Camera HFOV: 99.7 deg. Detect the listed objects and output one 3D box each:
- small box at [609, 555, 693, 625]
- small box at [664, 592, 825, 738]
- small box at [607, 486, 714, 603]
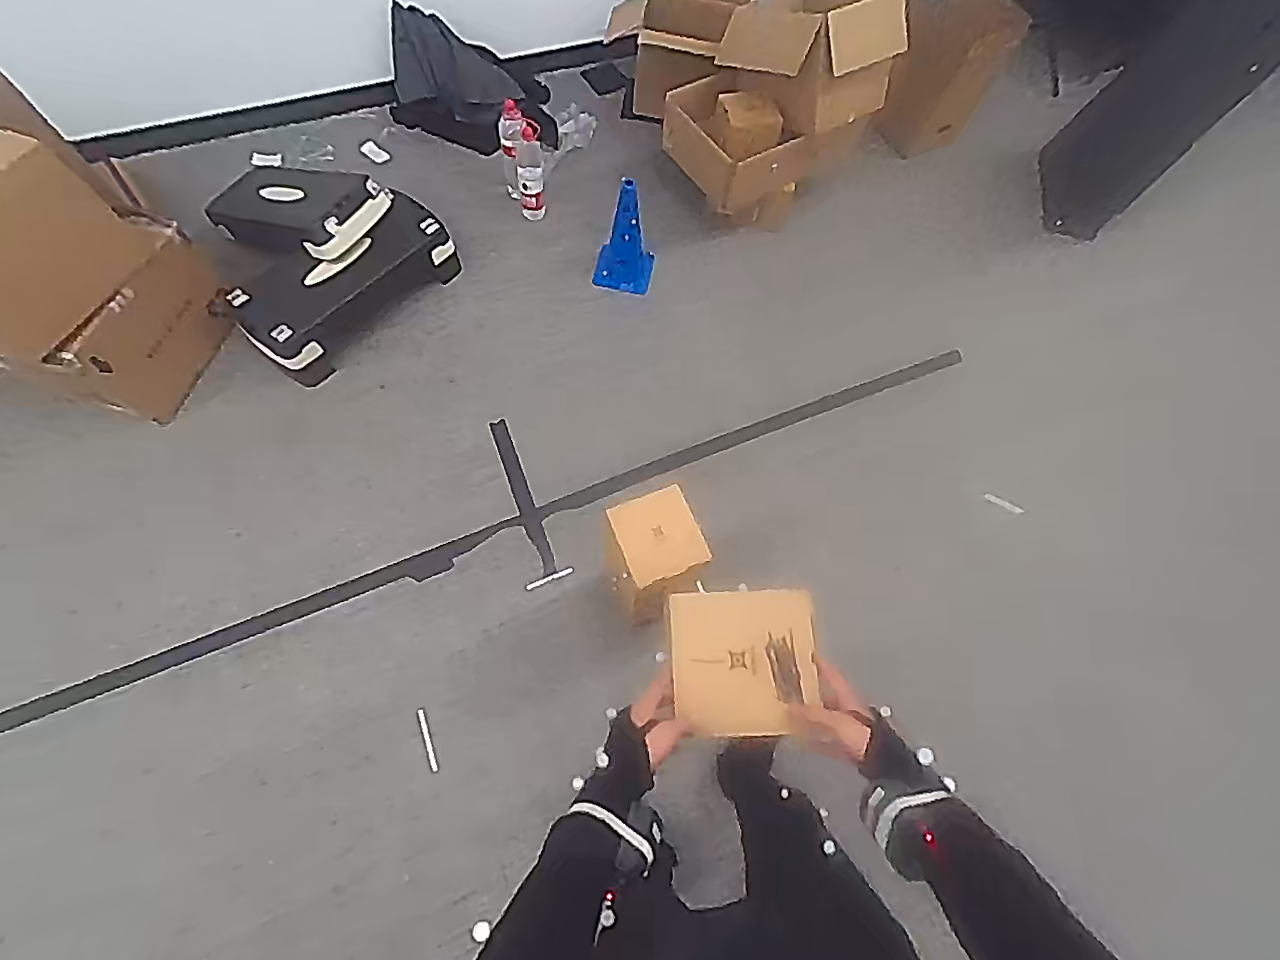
[{"bbox_3d":[0.021,0.271,1.458,0.168,0.176,0.179,-24,72,-13],"label":"small box"},{"bbox_3d":[0.125,0.241,0.721,0.179,0.176,0.168,-3,72,0],"label":"small box"},{"bbox_3d":[0.034,0.143,1.156,0.168,0.176,0.179,-20,71,-12],"label":"small box"}]
